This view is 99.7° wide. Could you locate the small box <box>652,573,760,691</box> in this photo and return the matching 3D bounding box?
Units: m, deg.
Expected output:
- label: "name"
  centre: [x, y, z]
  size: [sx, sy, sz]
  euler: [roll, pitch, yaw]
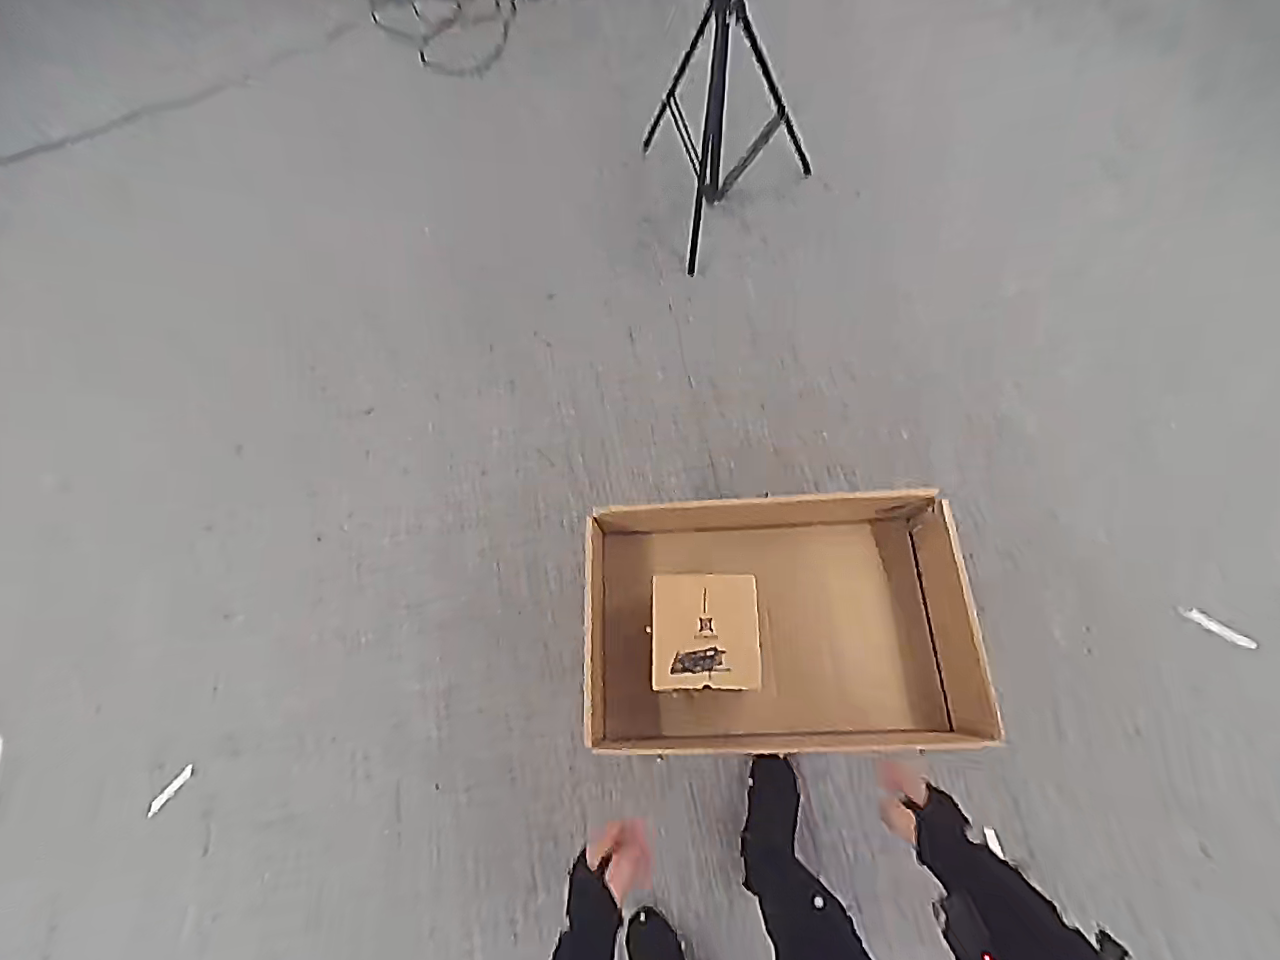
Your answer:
- label: "small box"
  centre: [0.109, 0.260, 0.913]
  size: [0.168, 0.176, 0.179]
  euler: [-1, 68, 5]
